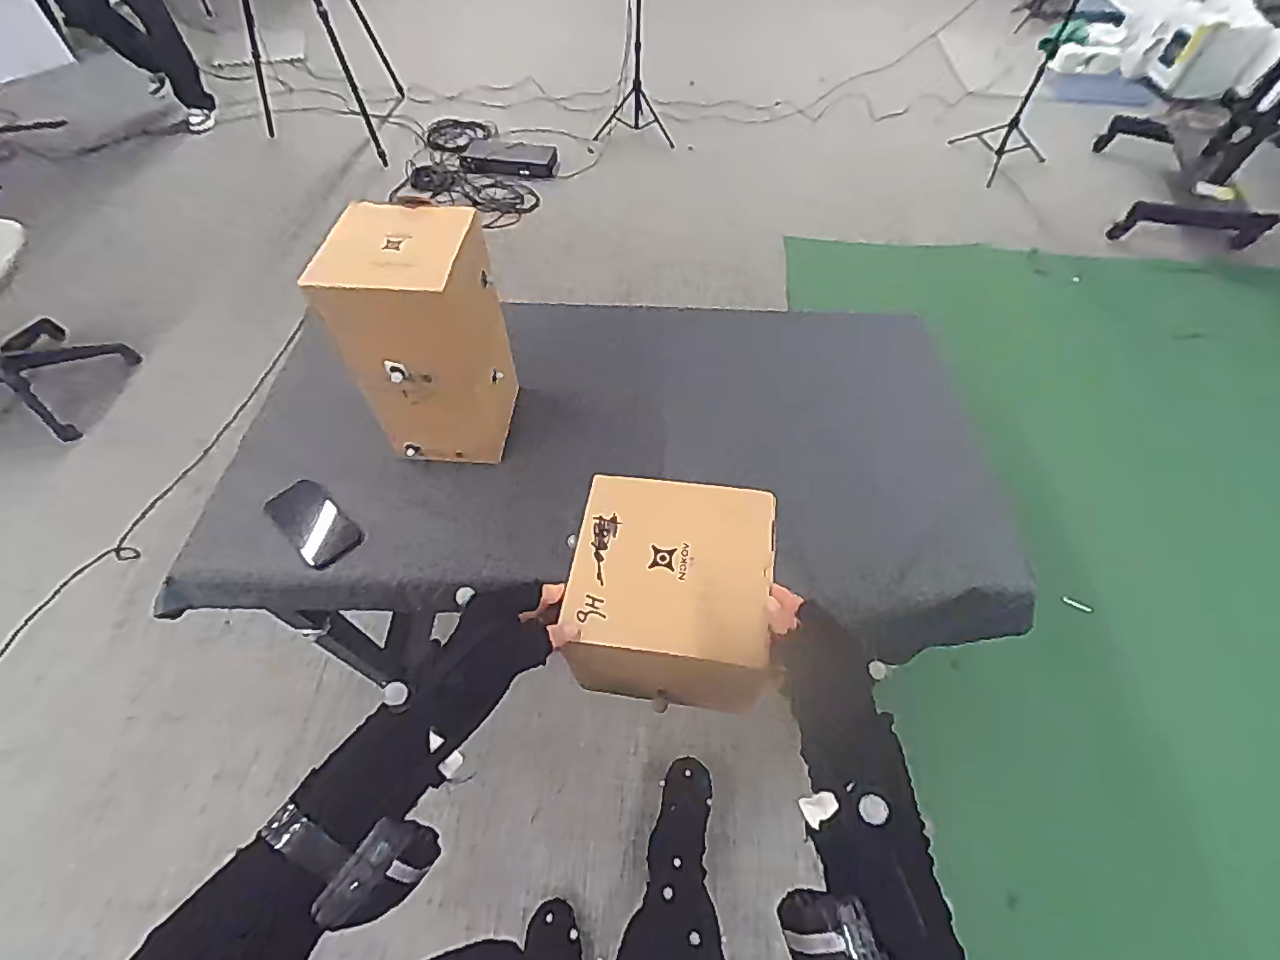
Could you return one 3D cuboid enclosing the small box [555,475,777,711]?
[{"bbox_3d":[0.031,0.118,0.538,0.179,0.176,0.168,7,55,7],"label":"small box"}]

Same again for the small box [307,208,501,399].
[{"bbox_3d":[-0.291,-0.231,0.717,0.168,0.176,0.179,3,56,1],"label":"small box"}]

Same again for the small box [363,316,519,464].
[{"bbox_3d":[-0.296,-0.142,0.852,0.168,0.176,0.179,4,54,1],"label":"small box"}]
